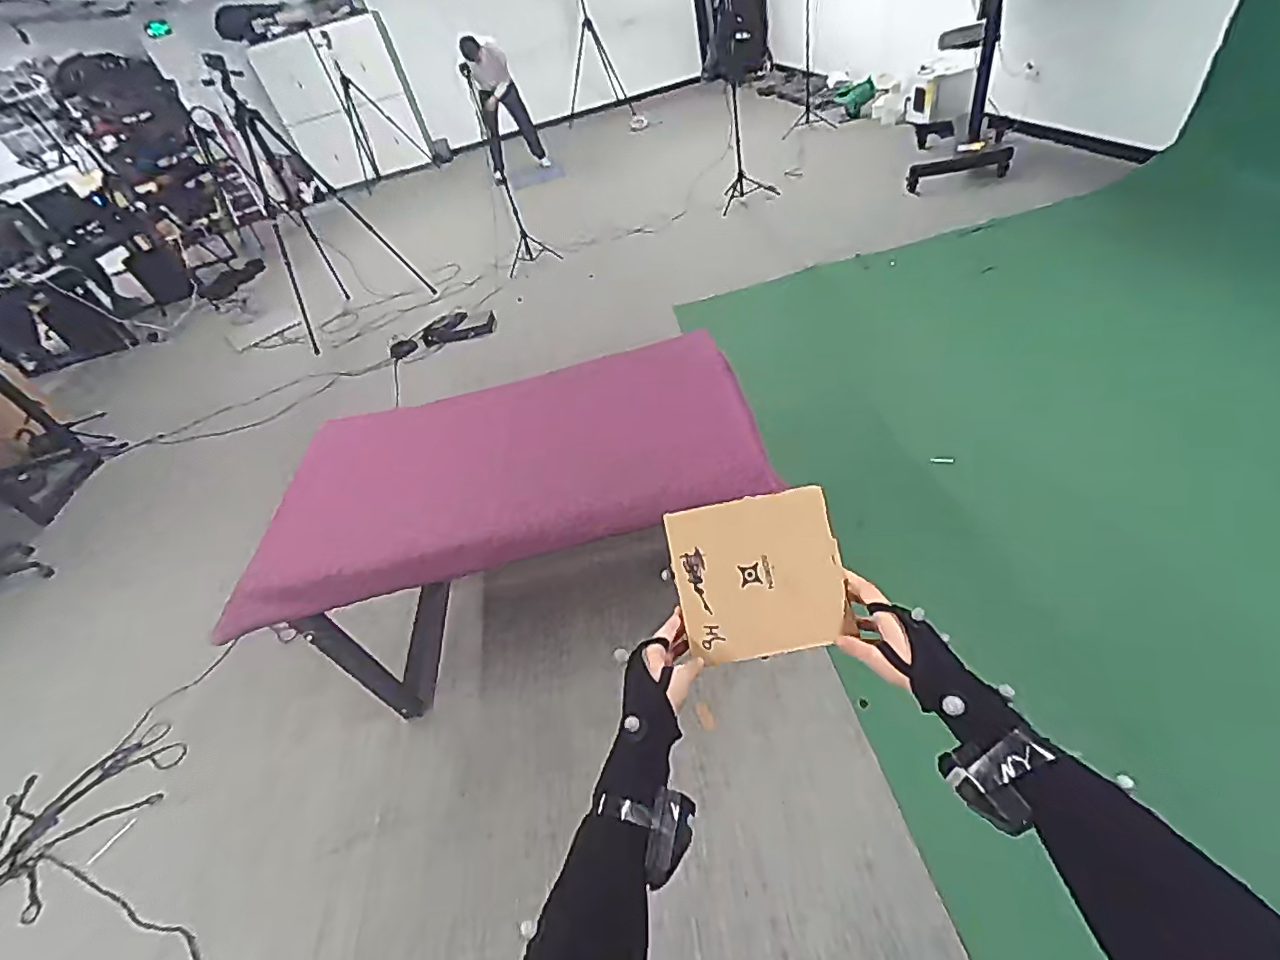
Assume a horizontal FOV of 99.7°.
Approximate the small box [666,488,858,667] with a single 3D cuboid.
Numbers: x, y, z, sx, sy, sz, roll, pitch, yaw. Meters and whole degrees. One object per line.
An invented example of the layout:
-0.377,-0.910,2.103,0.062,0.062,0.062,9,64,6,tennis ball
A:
0.131,0.116,0.647,0.179,0.176,0.168,-11,77,3,small box
